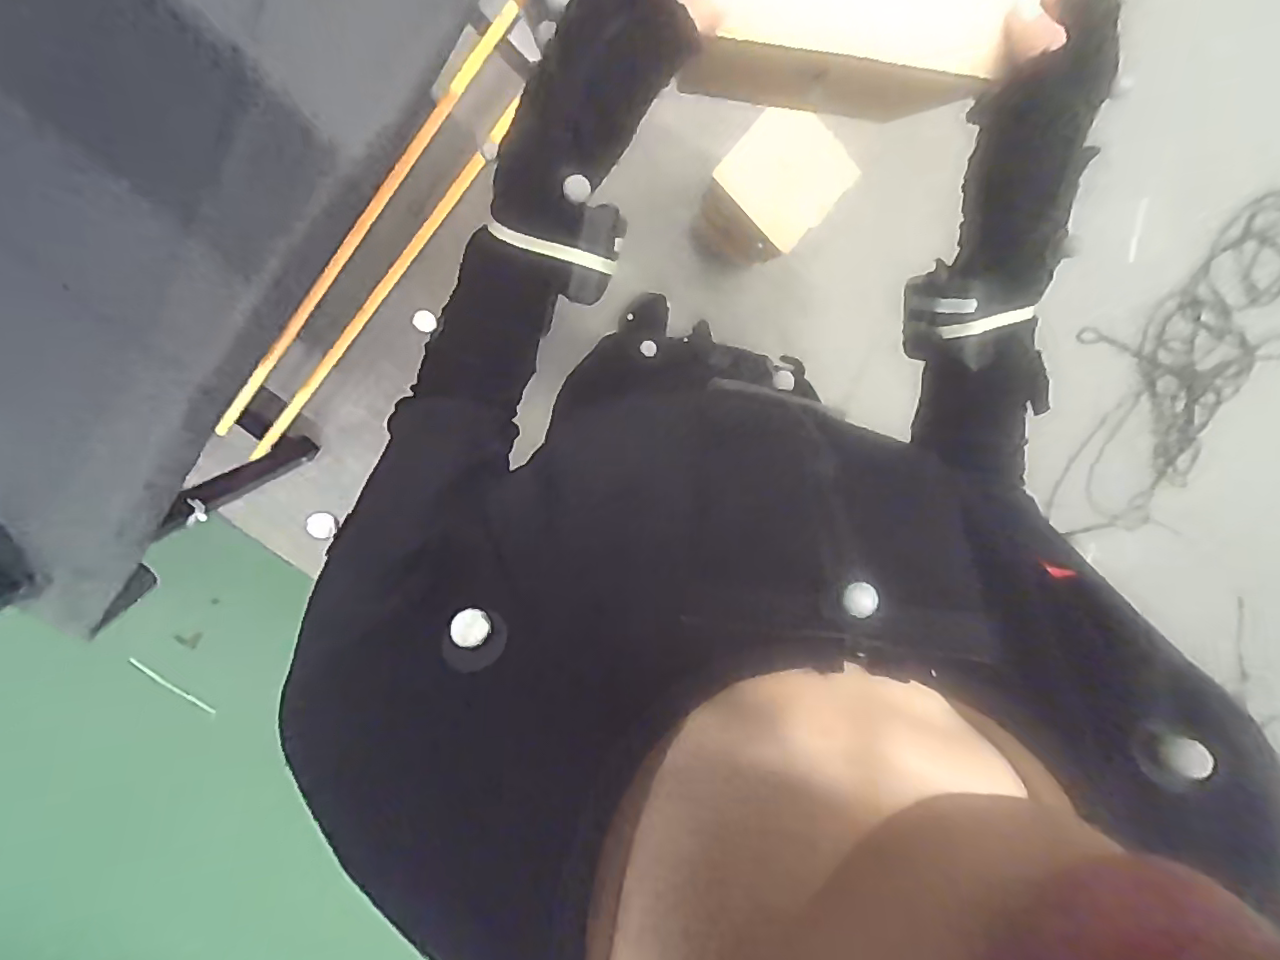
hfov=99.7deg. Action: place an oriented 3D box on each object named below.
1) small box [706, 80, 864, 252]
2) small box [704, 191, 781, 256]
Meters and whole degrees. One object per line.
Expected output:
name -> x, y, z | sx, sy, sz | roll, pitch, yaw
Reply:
small box -> 0.228, -0.503, 0.904 | 0.179, 0.176, 0.168 | 42, 105, -13
small box -> 0.244, -0.562, 1.056 | 0.179, 0.176, 0.168 | 39, 105, -11
